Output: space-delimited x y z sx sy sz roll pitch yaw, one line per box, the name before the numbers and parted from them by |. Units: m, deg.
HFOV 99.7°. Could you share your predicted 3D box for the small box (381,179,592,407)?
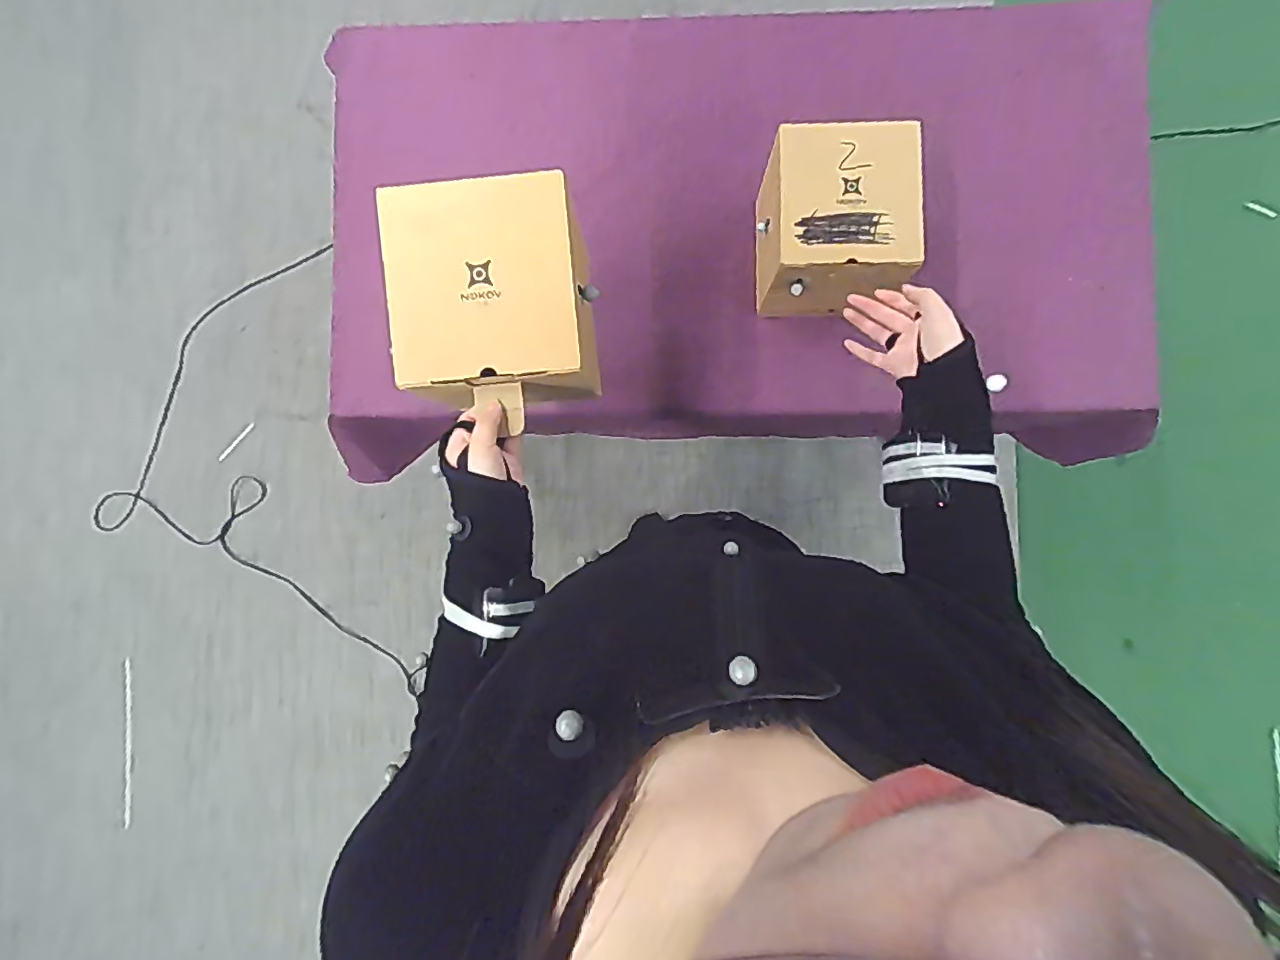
small box | -0.144 -0.179 0.564 0.168 0.176 0.179 -5 92 1
